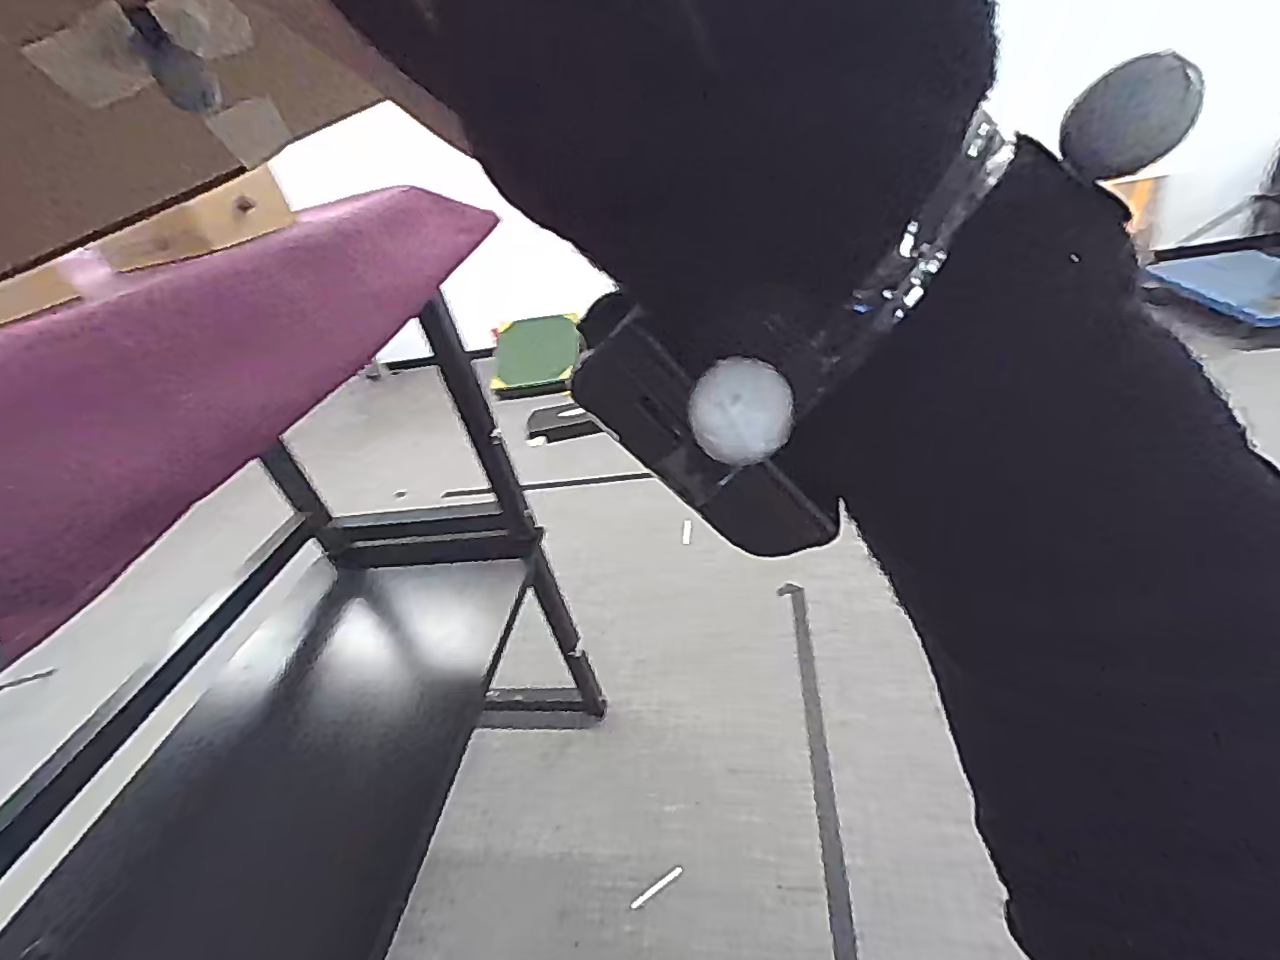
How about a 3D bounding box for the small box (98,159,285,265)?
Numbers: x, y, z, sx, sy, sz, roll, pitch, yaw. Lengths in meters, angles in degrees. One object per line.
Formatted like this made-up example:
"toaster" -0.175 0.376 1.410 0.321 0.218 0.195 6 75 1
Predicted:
"small box" -0.600 -0.388 0.689 0.168 0.176 0.179 -5 35 13
